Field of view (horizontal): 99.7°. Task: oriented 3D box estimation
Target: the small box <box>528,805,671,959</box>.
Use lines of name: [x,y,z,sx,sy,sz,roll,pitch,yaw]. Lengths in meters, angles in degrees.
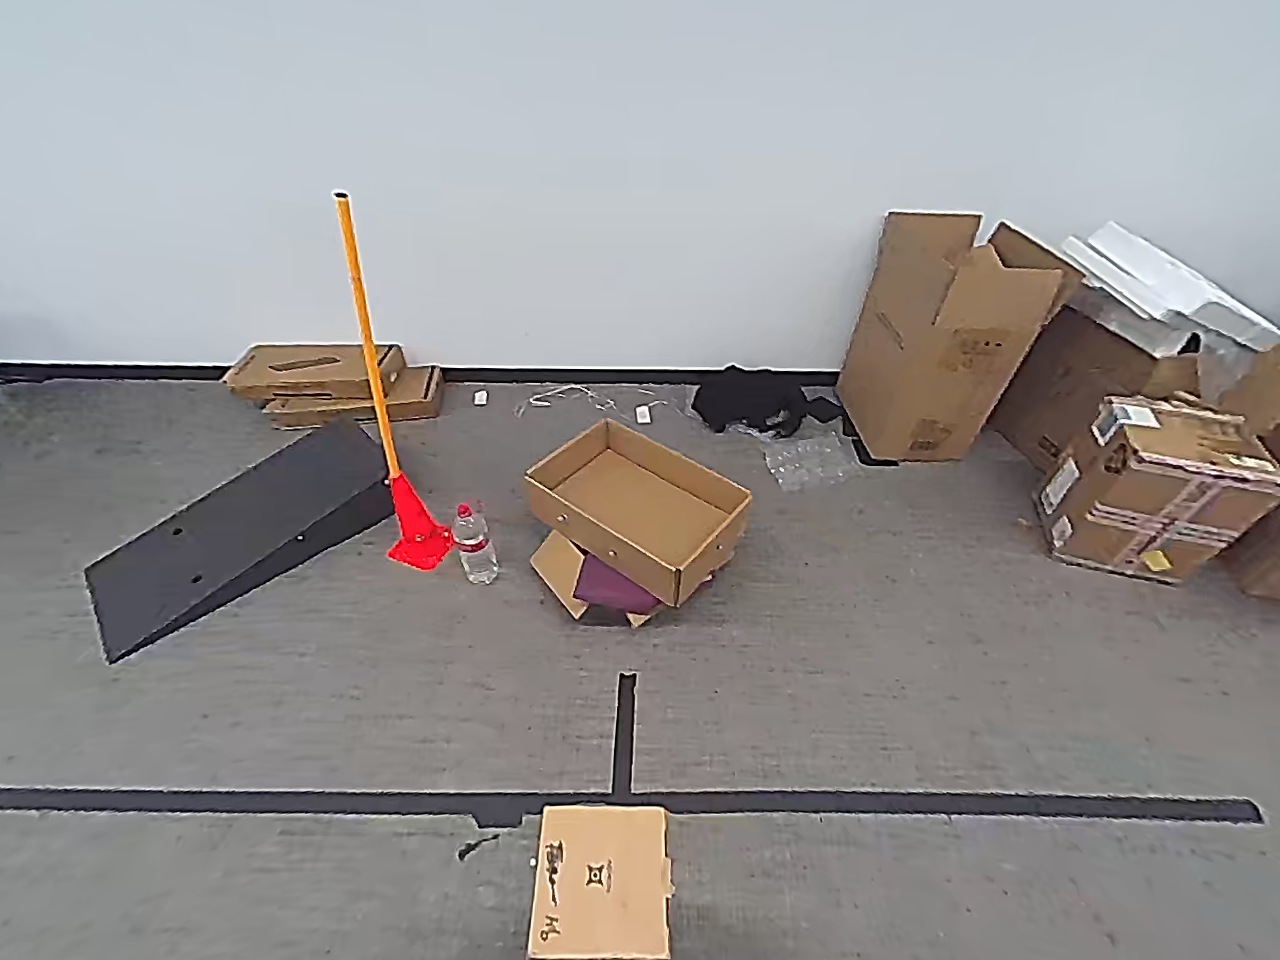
small box: [-0.052,0.581,0.766,0.179,0.176,0.168,2,42,-1]
